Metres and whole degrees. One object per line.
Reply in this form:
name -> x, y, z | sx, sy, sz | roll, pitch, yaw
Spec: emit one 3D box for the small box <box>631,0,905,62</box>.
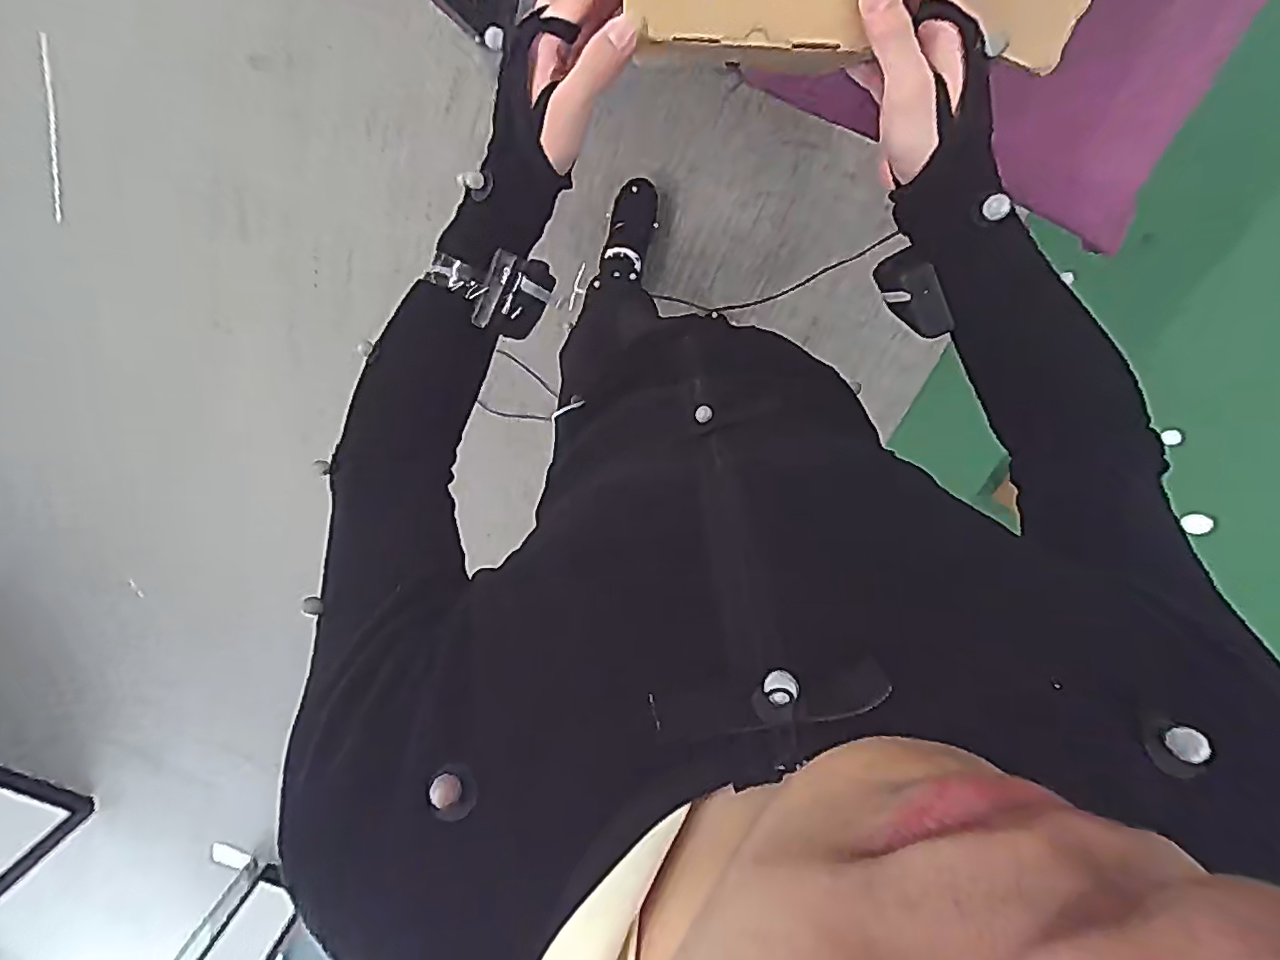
small box -> 0.081, -0.387, 0.339 | 0.168, 0.176, 0.179 | 5, 124, 0
